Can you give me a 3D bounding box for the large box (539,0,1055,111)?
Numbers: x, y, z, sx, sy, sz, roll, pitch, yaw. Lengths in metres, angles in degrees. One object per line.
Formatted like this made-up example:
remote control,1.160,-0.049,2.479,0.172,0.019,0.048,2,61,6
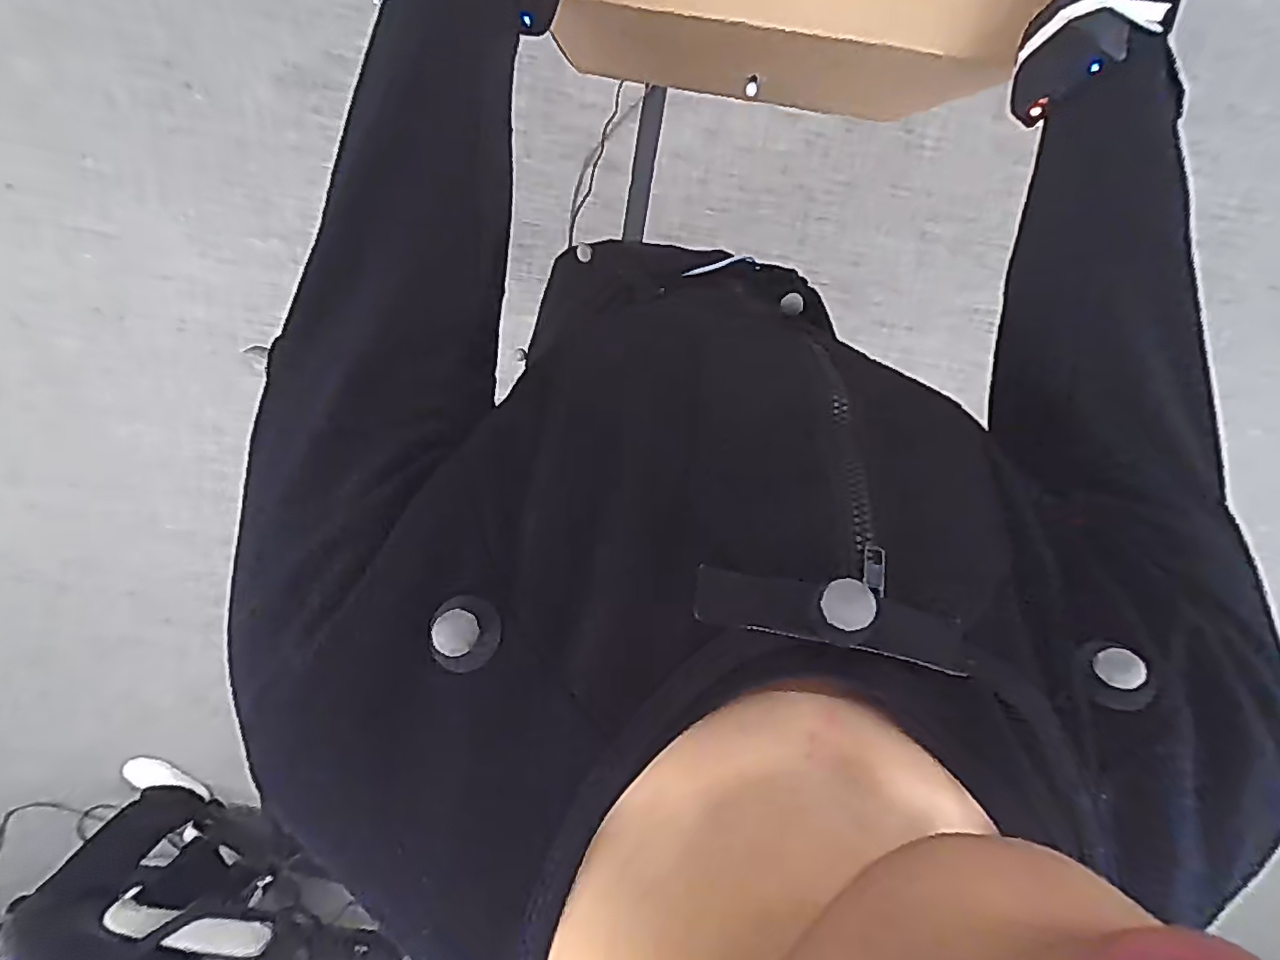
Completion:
large box,0.136,-0.552,0.478,0.408,0.320,0.320,8,116,-1
